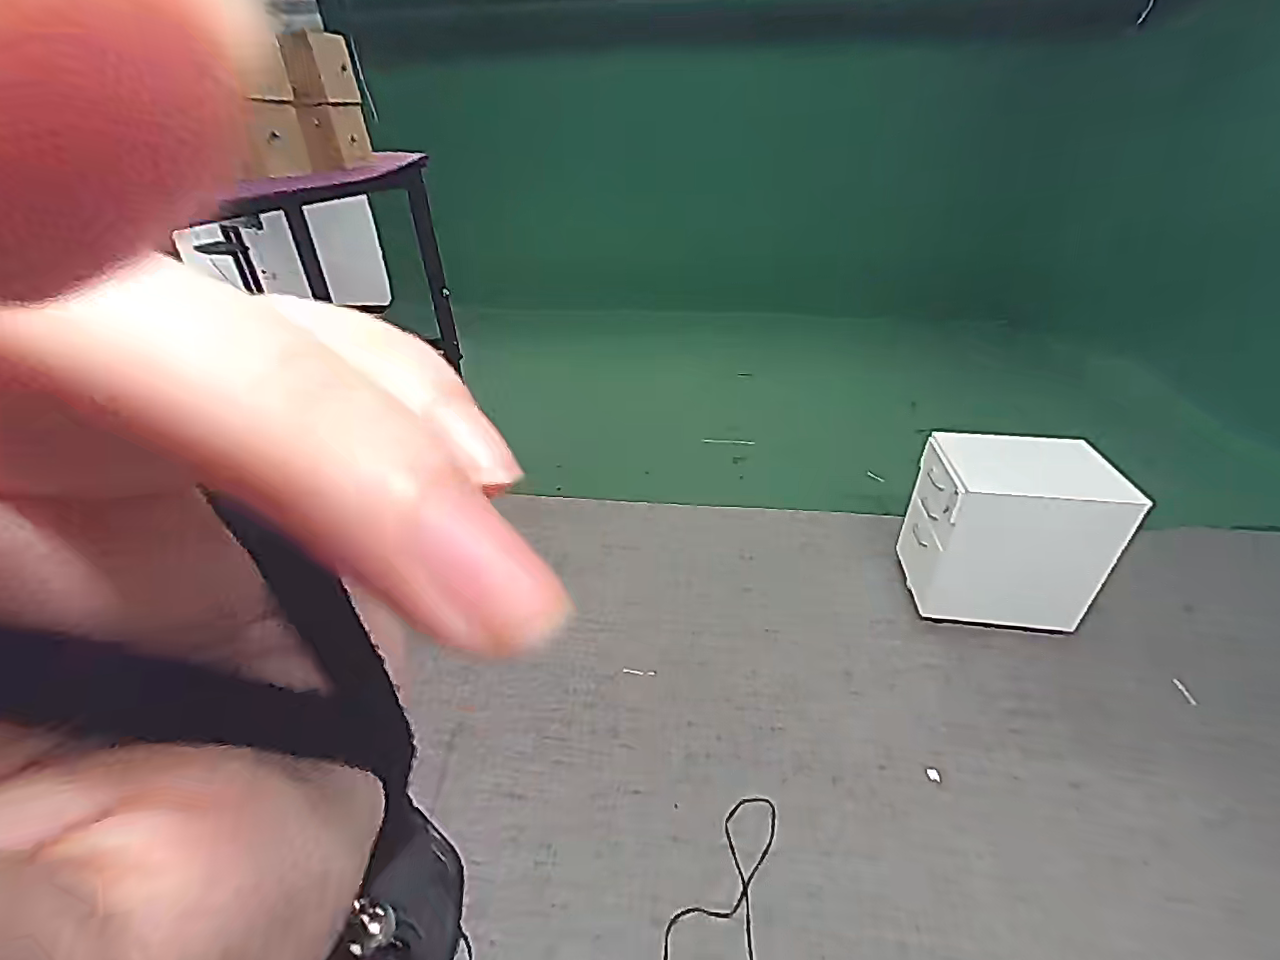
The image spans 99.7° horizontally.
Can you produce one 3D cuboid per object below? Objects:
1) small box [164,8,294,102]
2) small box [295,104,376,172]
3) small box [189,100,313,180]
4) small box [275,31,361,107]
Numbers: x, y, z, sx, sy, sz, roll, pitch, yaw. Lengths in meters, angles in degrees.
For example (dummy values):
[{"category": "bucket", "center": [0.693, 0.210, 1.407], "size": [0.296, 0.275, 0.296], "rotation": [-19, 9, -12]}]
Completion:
[{"category": "small box", "center": [-0.991, -1.018, 1.315], "size": [0.168, 0.176, 0.179], "rotation": [5, 32, 10]}, {"category": "small box", "center": [-0.962, -1.066, 1.684], "size": [0.179, 0.176, 0.168], "rotation": [2, 34, 9]}, {"category": "small box", "center": [-0.993, -0.879, 1.401], "size": [0.168, 0.176, 0.179], "rotation": [4, 34, 7]}, {"category": "small box", "center": [-0.955, -1.198, 1.589], "size": [0.168, 0.176, 0.179], "rotation": [1, 36, 8]}]
